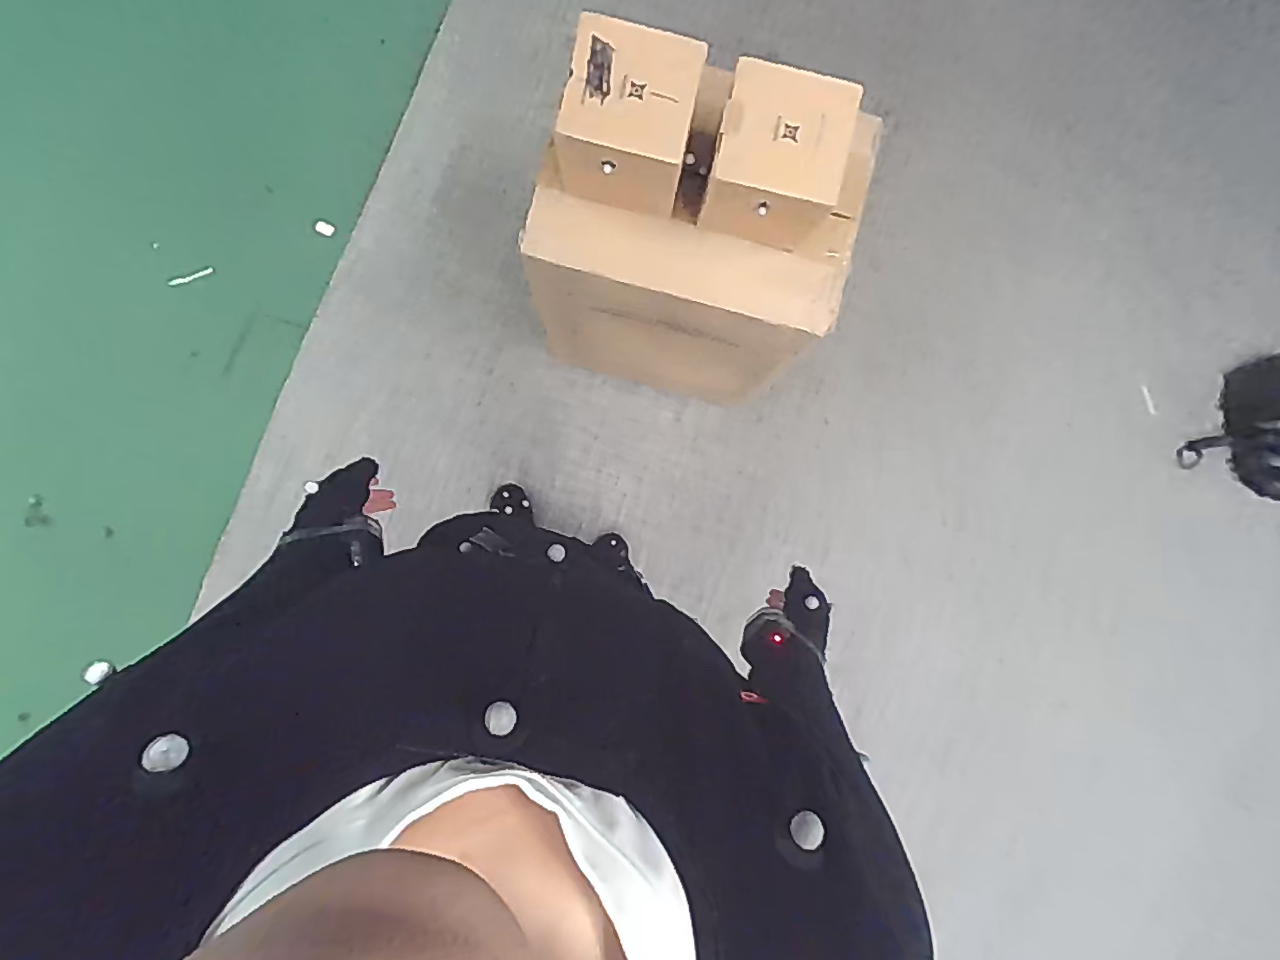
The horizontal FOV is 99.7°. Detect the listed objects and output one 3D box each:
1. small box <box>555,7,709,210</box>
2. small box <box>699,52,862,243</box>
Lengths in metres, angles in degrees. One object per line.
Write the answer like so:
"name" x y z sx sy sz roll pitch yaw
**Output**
"small box" -0.014 -0.528 0.797 0.179 0.176 0.168 14 92 -3
"small box" 0.195 -0.478 0.807 0.179 0.176 0.168 12 93 -4
